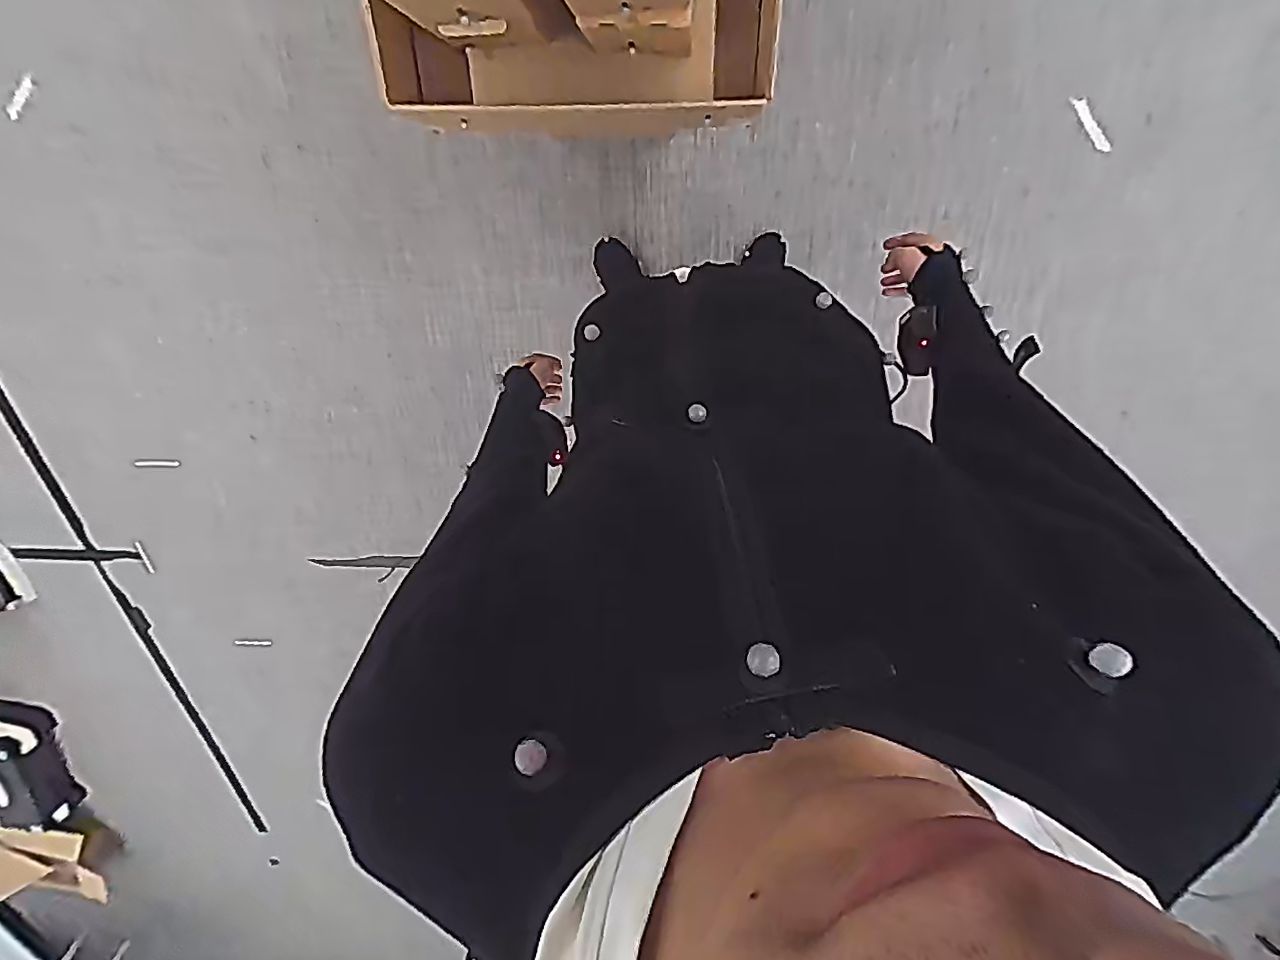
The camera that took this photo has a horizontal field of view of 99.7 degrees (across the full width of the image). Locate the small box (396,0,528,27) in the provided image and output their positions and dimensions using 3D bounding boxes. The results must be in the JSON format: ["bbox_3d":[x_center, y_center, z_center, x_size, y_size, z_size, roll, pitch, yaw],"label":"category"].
[{"bbox_3d":[-0.245,-0.694,0.663,0.168,0.176,0.179,-1,118,4],"label":"small box"}]

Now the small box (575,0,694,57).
[{"bbox_3d":[-0.002,-0.758,0.801,0.168,0.176,0.179,4,118,4],"label":"small box"}]
